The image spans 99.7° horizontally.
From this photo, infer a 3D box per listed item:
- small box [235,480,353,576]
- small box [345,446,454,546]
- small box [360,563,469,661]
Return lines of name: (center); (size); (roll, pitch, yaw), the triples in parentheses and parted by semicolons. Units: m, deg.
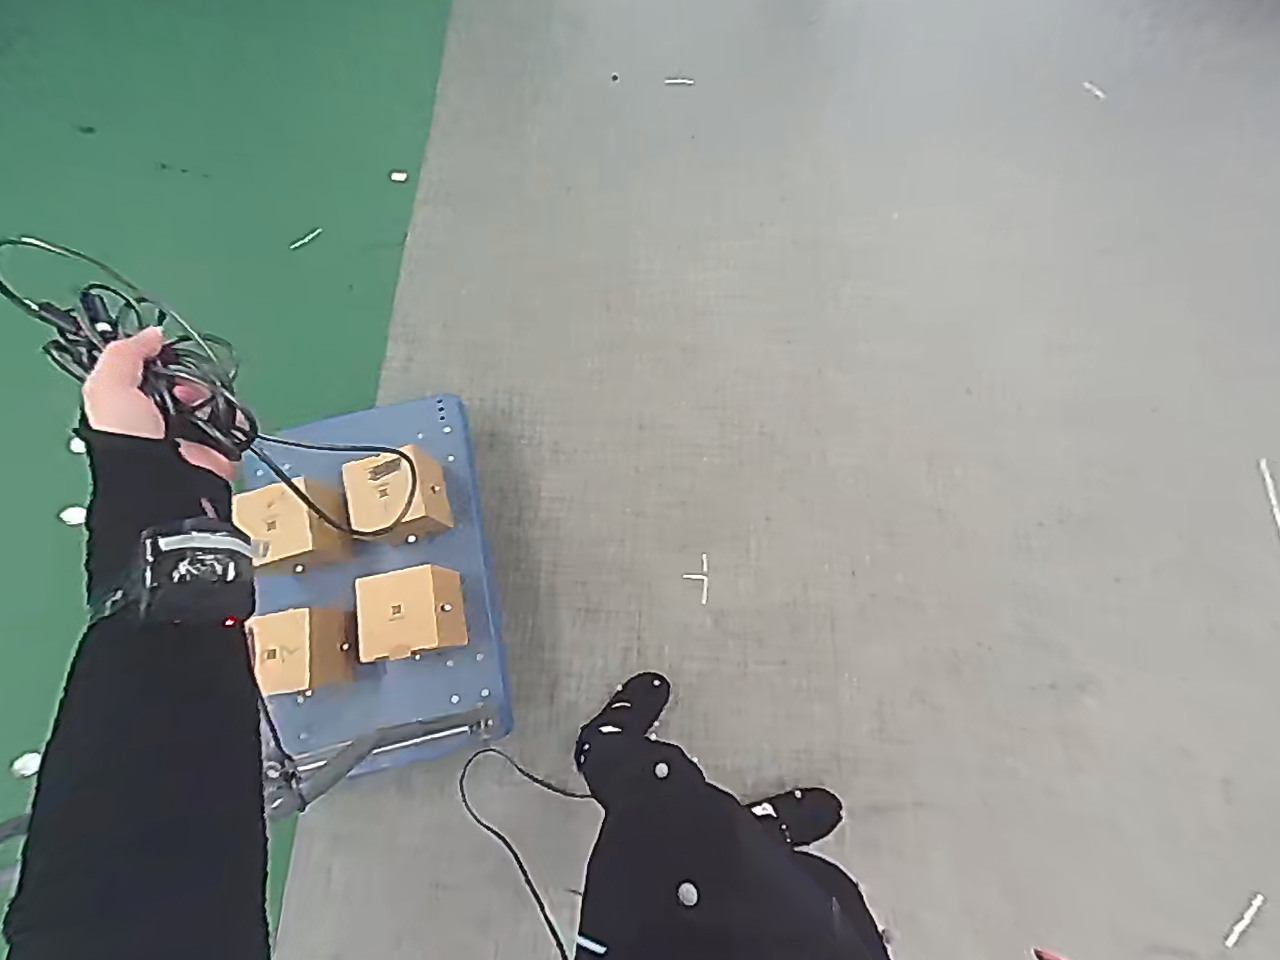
small box: (-0.801, 0.120, 1.268); (0.168, 0.176, 0.179); (-17, 75, -3)
small box: (-0.562, 0.044, 1.278); (0.168, 0.176, 0.179); (-17, 76, -2)
small box: (-0.498, 0.297, 1.208); (0.168, 0.176, 0.179); (-13, 75, -1)
